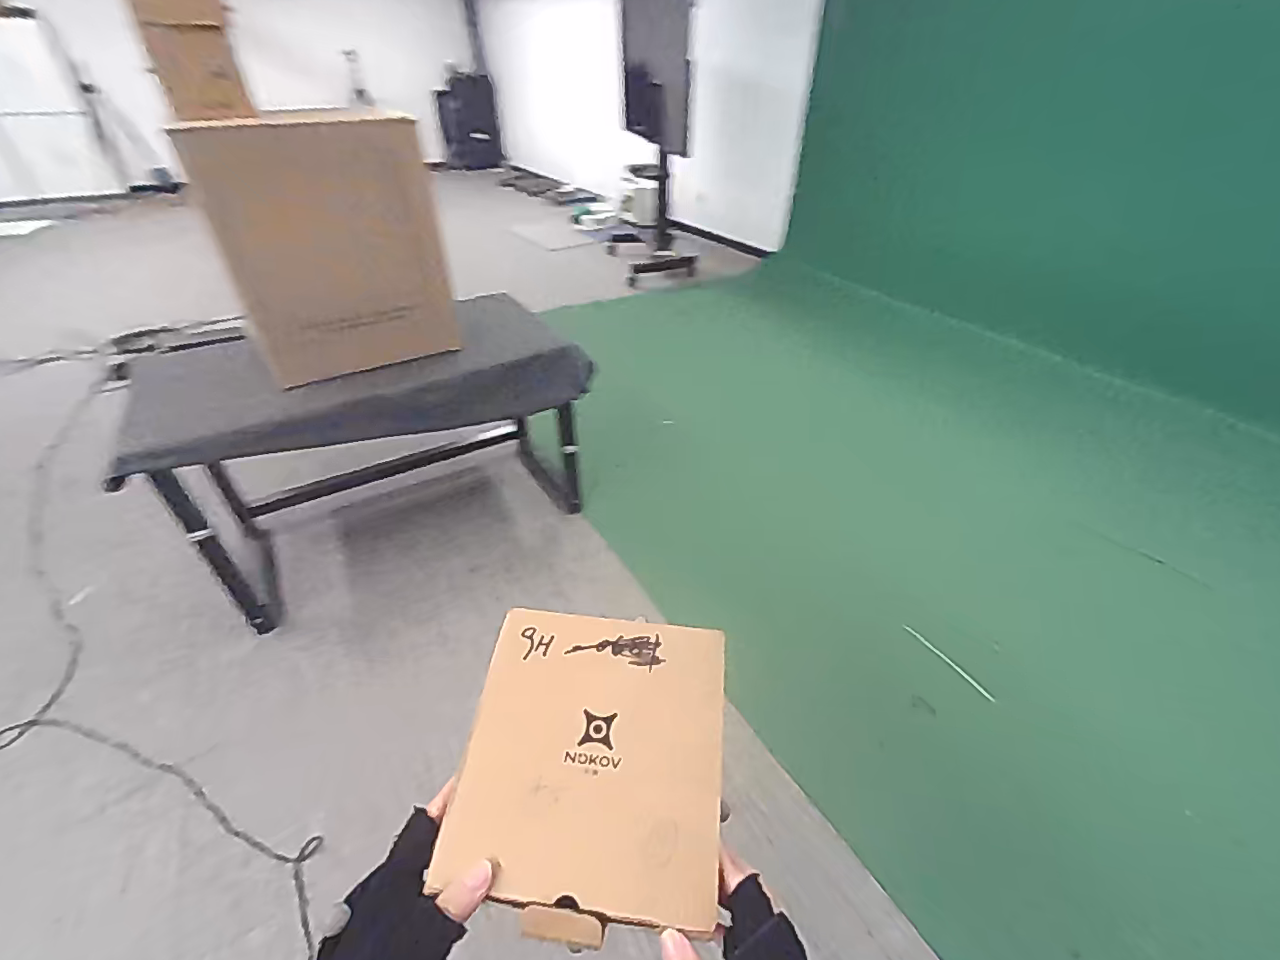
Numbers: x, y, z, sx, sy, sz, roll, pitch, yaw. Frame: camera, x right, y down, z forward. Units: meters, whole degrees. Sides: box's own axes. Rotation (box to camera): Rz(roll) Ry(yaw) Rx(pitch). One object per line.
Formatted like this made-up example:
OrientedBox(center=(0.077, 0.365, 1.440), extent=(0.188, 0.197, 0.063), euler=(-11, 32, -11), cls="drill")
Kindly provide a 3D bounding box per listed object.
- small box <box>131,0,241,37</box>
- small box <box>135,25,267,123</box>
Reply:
OrientedBox(center=(-0.968, -1.033, 1.131), extent=(0.179, 0.176, 0.168), euler=(-23, 45, -25), cls="small box")
OrientedBox(center=(-0.985, -0.919, 1.225), extent=(0.168, 0.176, 0.179), euler=(-30, 49, -31), cls="small box")
